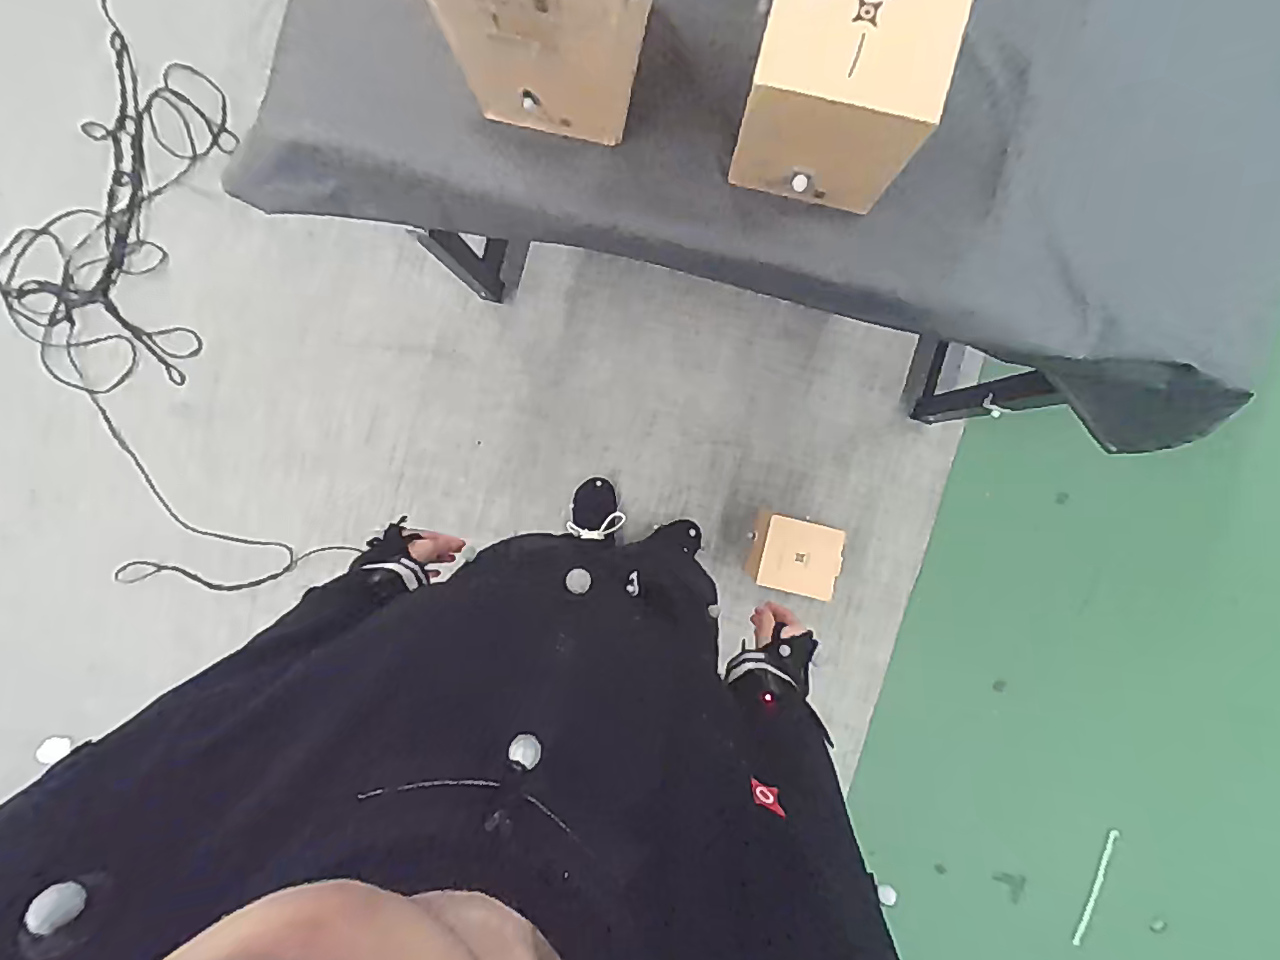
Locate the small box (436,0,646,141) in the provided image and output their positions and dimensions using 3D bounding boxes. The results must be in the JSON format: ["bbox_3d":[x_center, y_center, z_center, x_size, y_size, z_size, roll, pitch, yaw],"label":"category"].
[{"bbox_3d":[-0.087,-0.491,0.547,0.168,0.176,0.179,12,93,1],"label":"small box"}]

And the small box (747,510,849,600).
[{"bbox_3d":[0.366,0.170,1.282,0.179,0.176,0.168,12,91,2],"label":"small box"}]

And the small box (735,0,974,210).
[{"bbox_3d":[0.199,-0.407,0.537,0.168,0.176,0.179,14,92,2],"label":"small box"}]
